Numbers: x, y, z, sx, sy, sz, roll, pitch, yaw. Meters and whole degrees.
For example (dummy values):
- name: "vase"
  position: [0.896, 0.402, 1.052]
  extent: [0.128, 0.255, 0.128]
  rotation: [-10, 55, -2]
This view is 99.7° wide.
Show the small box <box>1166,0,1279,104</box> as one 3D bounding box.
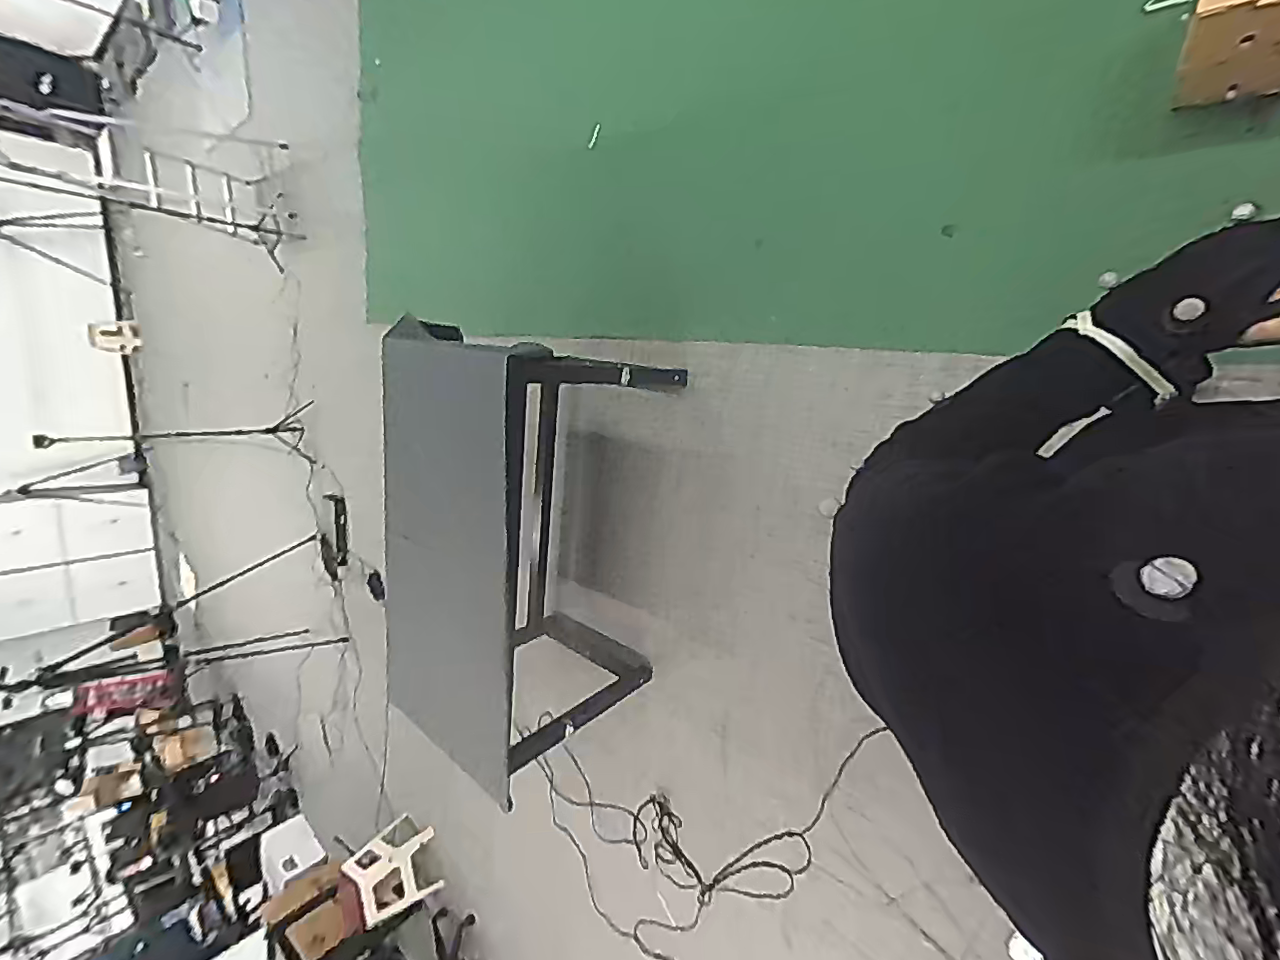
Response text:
- name: "small box"
  position: [1.007, -0.768, 0.893]
  extent: [0.168, 0.176, 0.179]
  rotation: [14, 106, 37]

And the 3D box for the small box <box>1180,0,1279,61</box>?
- name: "small box"
  position: [0.907, -0.749, 0.766]
  extent: [0.168, 0.176, 0.179]
  rotation: [12, 105, 37]
